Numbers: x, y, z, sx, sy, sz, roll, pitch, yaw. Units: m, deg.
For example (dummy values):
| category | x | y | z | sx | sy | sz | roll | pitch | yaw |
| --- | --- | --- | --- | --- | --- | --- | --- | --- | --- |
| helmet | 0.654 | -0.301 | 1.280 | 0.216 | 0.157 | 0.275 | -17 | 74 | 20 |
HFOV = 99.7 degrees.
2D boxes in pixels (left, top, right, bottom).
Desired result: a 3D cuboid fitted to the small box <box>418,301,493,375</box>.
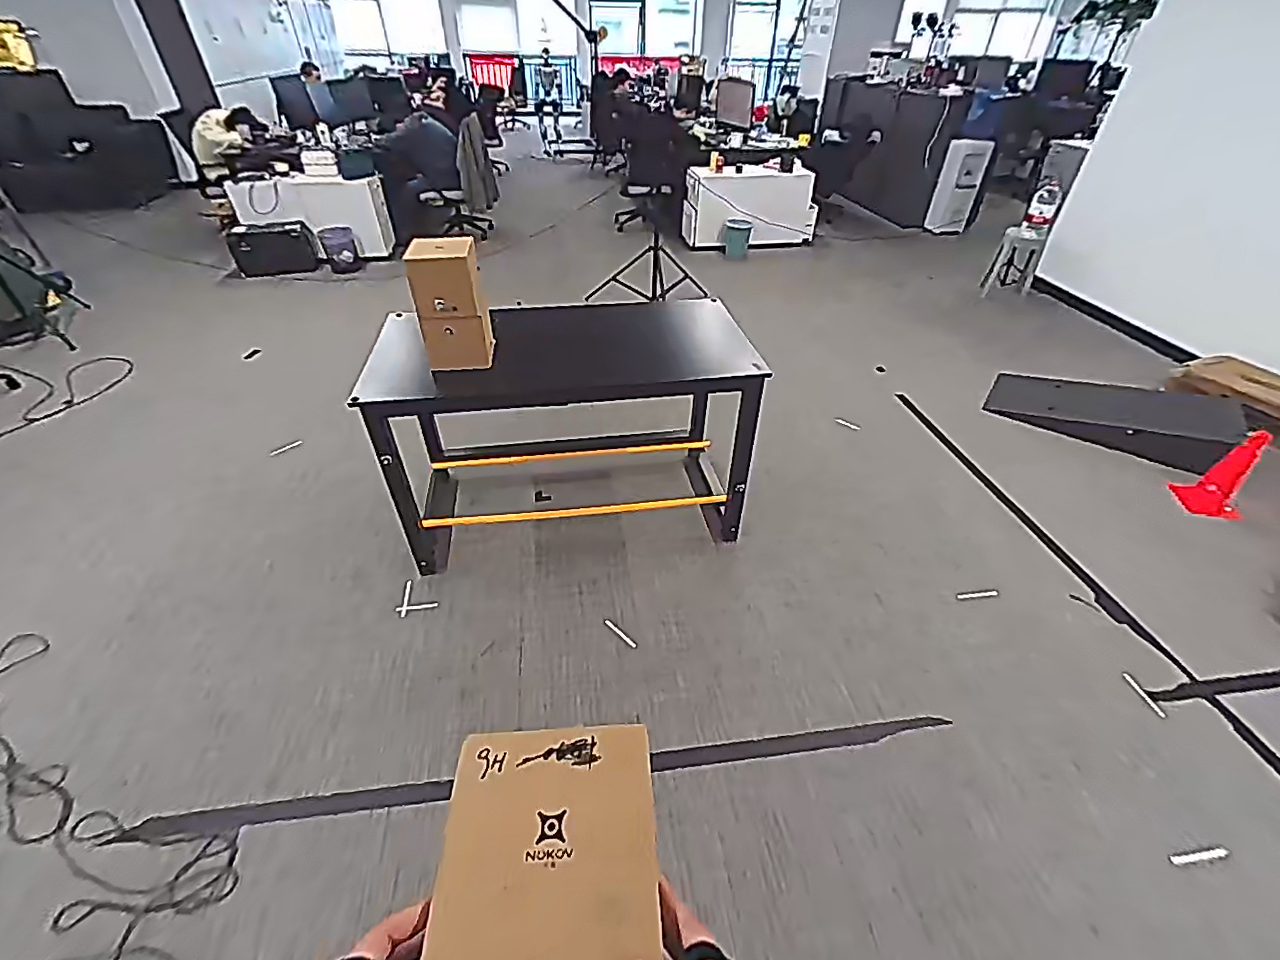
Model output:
| category | x | y | z | sx | sy | sz | roll | pitch | yaw |
| --- | --- | --- | --- | --- | --- | --- | --- | --- | --- |
| small box | -0.550 | -0.427 | 1.633 | 0.179 | 0.176 | 0.168 | -4 | 39 | -7 |

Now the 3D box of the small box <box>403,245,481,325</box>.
| category | x | y | z | sx | sy | sz | roll | pitch | yaw |
| --- | --- | --- | --- | --- | --- | --- | --- | --- | --- |
| small box | -0.550 | -0.552 | 1.529 | 0.168 | 0.176 | 0.179 | -6 | 41 | -7 |

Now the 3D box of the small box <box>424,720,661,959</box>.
| category | x | y | z | sx | sy | sz | roll | pitch | yaw |
| --- | --- | --- | --- | --- | --- | --- | --- | --- | --- |
| small box | -0.069 | 0.339 | 0.474 | 0.168 | 0.176 | 0.179 | -3 | 40 | -2 |
